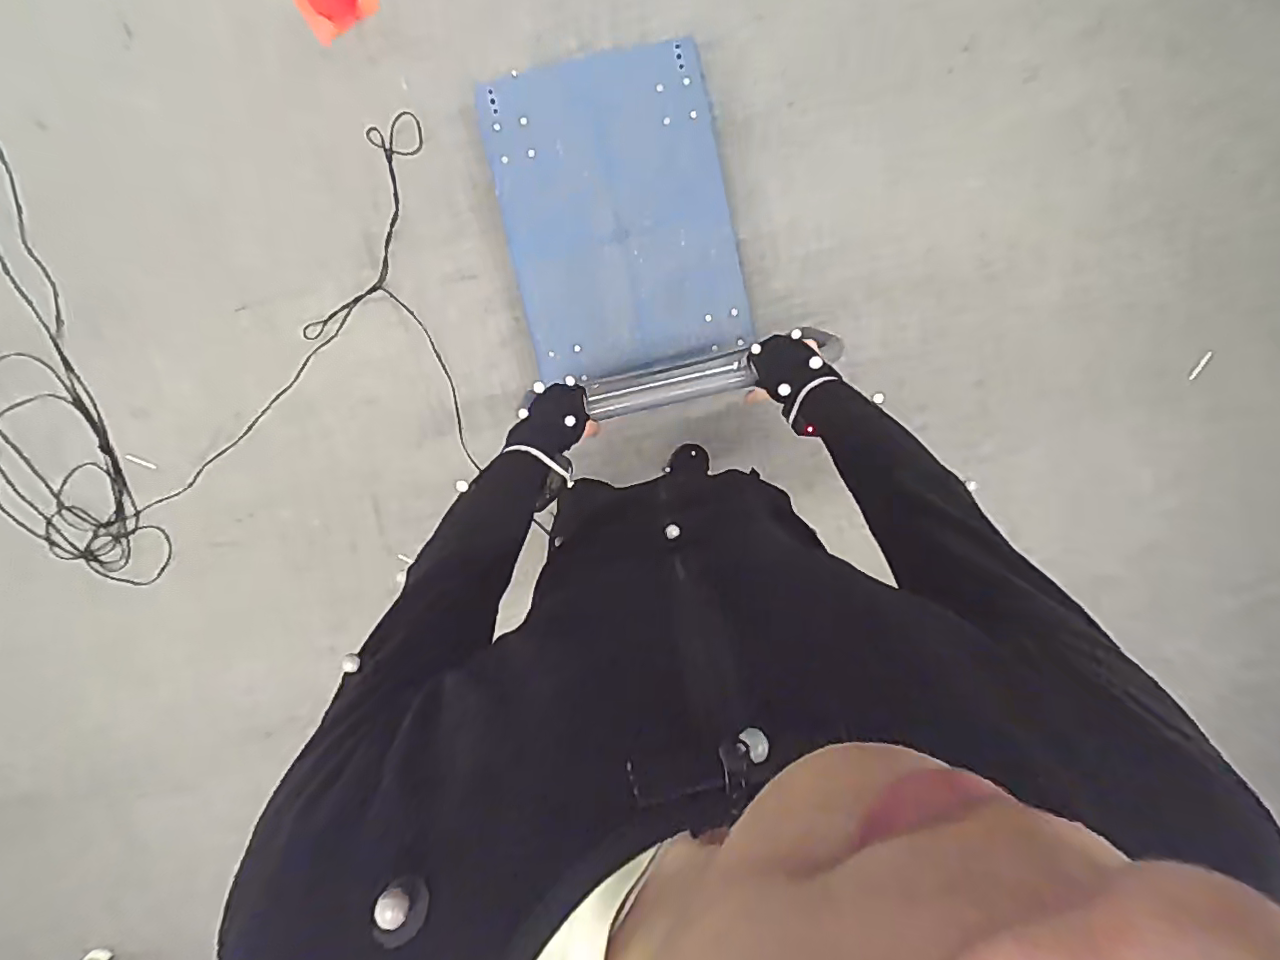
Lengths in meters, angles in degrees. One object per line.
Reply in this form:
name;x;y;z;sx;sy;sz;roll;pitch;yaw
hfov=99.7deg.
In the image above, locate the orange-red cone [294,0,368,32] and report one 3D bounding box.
orange-red cone;-0.856;-1.331;1.299;0.199;0.360;0.198;-31;94;4
